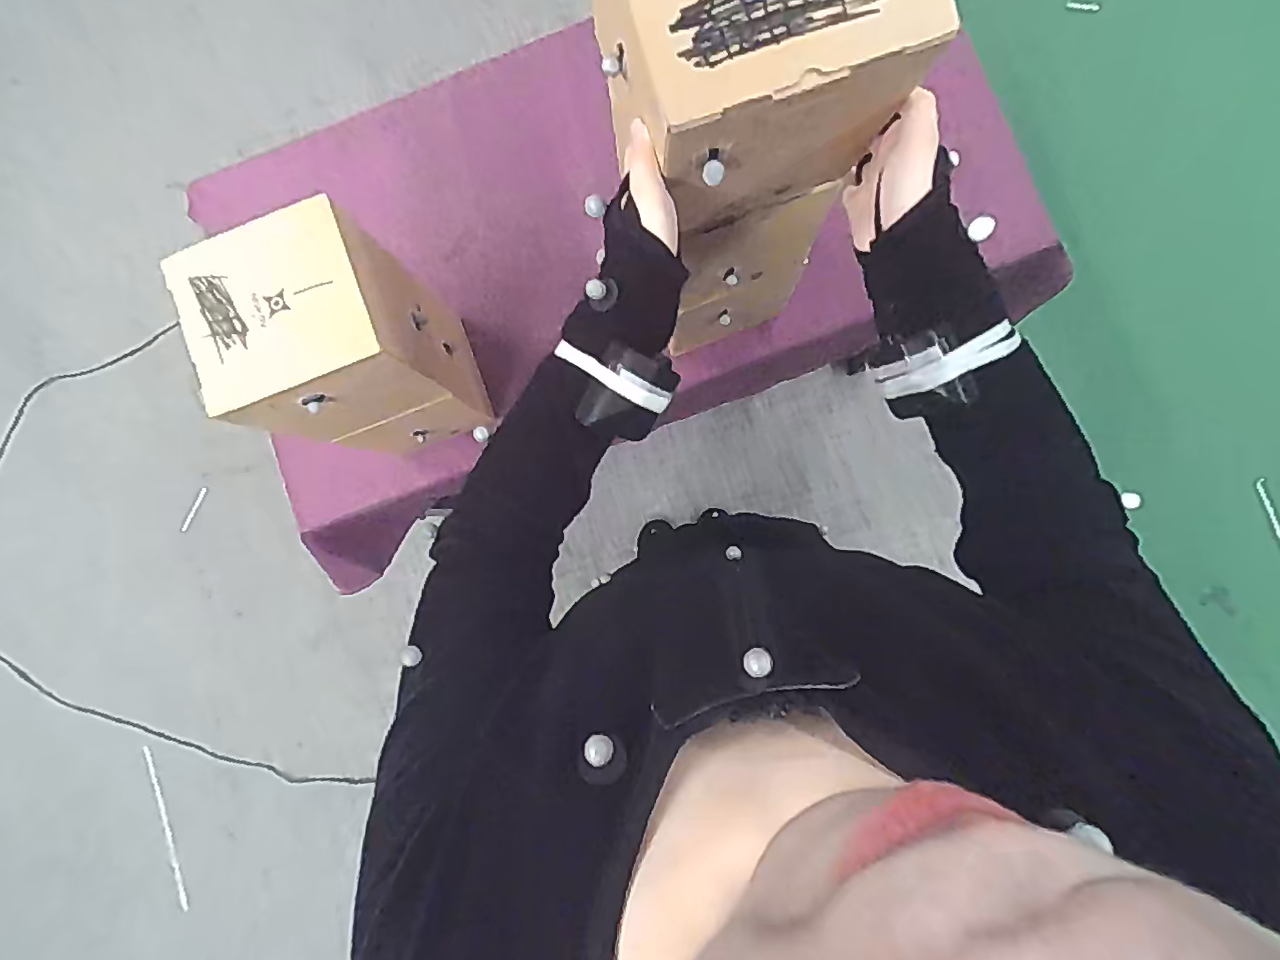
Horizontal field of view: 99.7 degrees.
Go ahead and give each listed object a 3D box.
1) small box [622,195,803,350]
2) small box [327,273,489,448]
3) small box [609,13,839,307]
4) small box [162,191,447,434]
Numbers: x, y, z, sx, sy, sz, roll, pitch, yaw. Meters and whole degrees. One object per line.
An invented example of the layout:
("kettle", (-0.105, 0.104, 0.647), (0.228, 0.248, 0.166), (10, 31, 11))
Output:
("small box", (0.093, -0.297, 0.728), (0.179, 0.176, 0.168), (-21, 85, 3))
("small box", (-0.330, -0.151, 0.745), (0.168, 0.176, 0.179), (-20, 85, 1))
("small box", (0.076, -0.313, 0.566), (0.168, 0.176, 0.179), (-20, 86, 2))
("small box", (-0.341, -0.161, 0.581), (0.179, 0.176, 0.168), (-21, 86, 1))
